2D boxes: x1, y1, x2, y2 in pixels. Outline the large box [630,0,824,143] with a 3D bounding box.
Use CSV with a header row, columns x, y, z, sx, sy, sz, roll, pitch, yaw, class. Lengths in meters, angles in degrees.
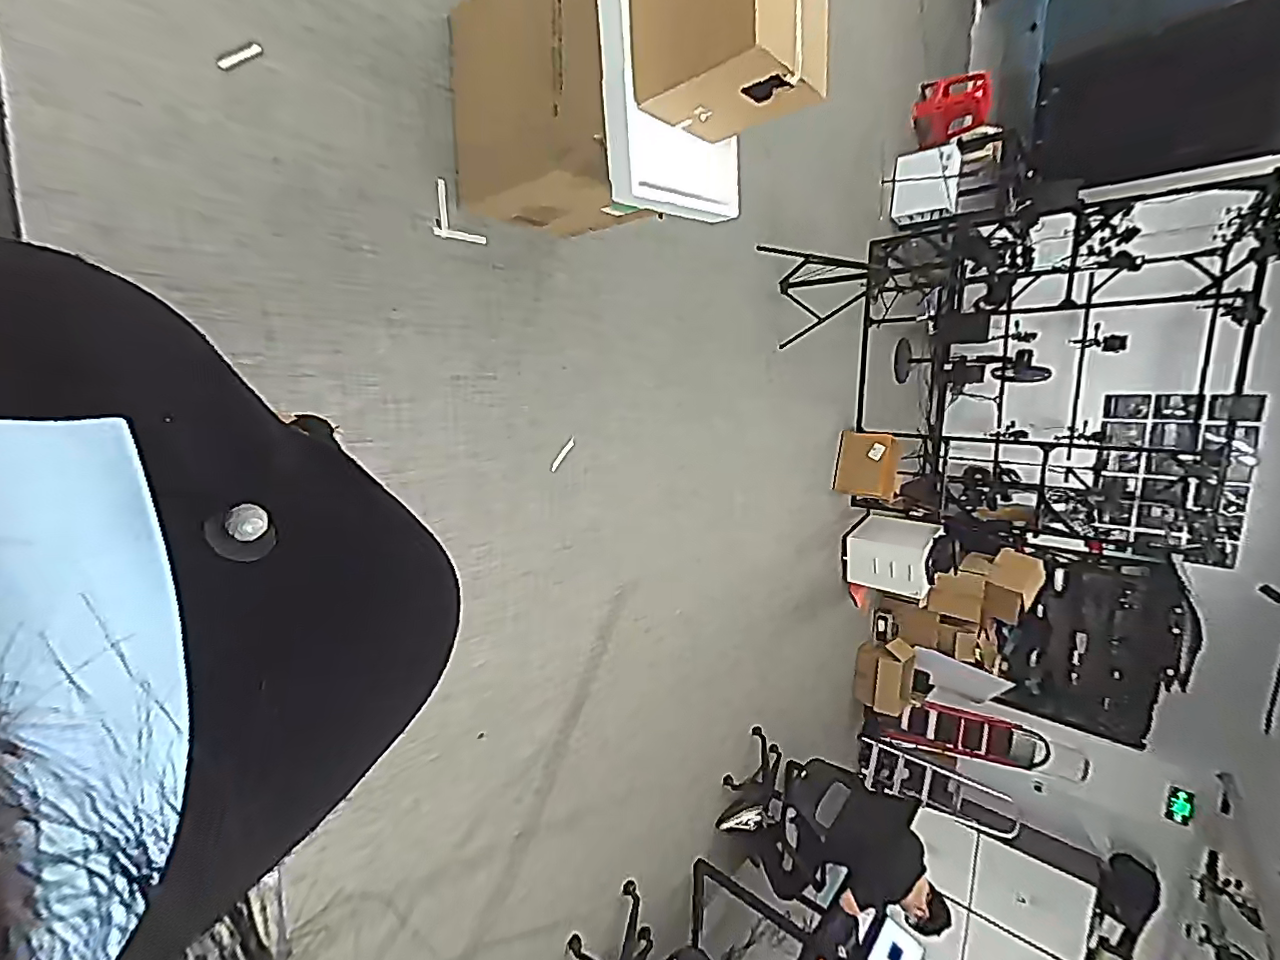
x,y,z,sx,sy,sz,roll,pitch,yaw,class
0.187,-1.024,1.163,0.320,0.320,0.408,-15,106,-48,large box
